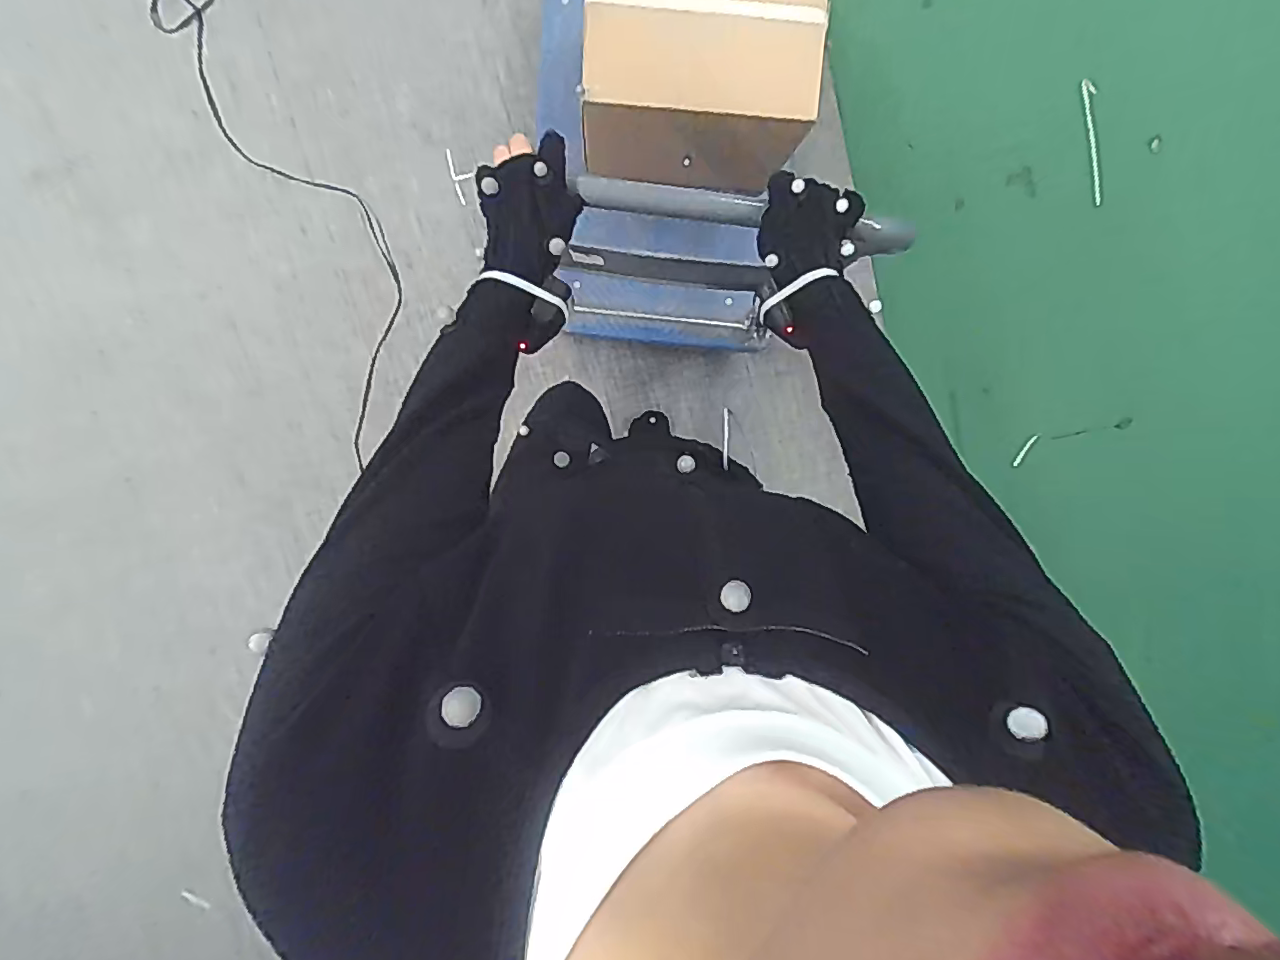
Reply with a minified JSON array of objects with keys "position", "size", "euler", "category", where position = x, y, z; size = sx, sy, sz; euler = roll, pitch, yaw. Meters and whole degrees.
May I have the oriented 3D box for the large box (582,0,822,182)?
[{"position":[0.099,-0.804,1.043],"size":[0.408,0.320,0.320],"euler":[2,97,-4],"category":"large box"}]
